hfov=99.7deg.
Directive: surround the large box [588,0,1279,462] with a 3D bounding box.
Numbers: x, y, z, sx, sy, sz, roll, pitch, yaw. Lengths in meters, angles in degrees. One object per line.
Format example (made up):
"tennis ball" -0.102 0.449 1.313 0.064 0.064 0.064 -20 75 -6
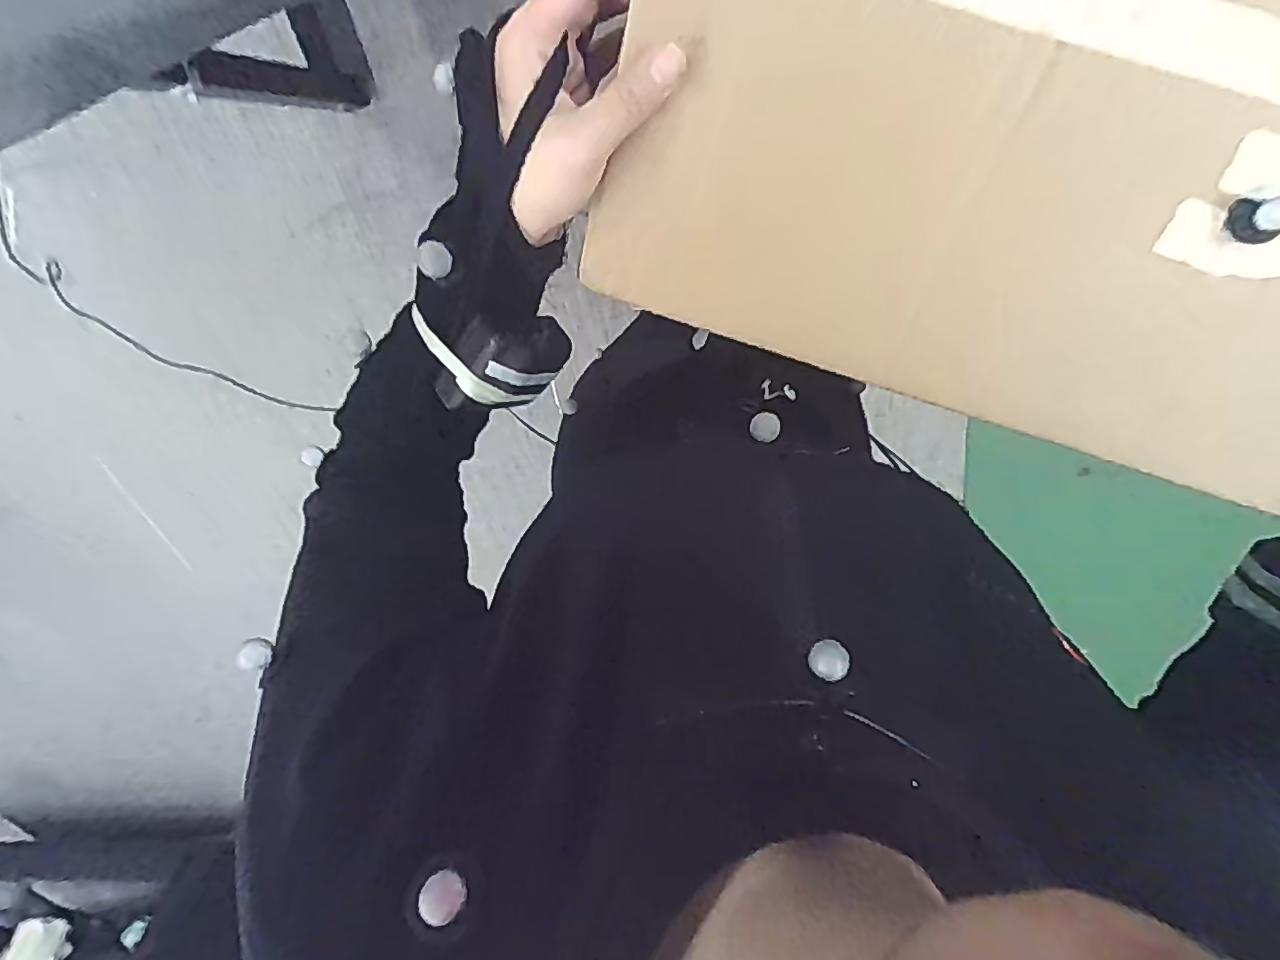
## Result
"large box" 0.218 -0.252 0.332 0.408 0.320 0.320 17 119 2
